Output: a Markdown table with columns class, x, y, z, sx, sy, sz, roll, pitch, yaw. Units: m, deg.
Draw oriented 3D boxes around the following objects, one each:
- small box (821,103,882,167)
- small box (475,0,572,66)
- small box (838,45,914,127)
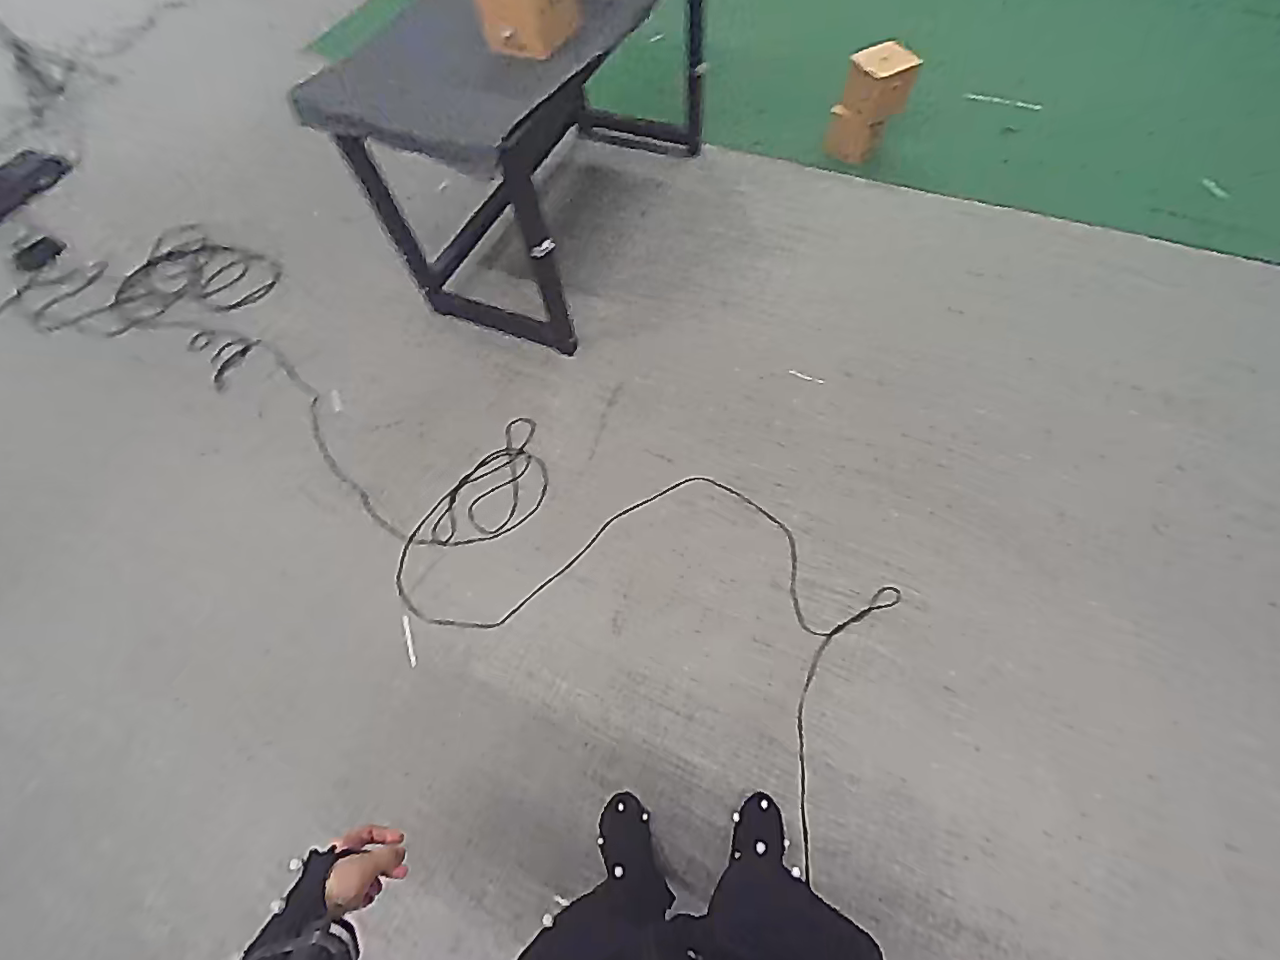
| class | x | y | z | sx | sy | sz | roll | pitch | yaw |
| --- | --- | --- | --- | --- | --- | --- | --- | --- | --- |
| small box | 0.831 | -1.370 | 2.121 | 0.168 | 0.176 | 0.179 | 37 | 72 | 19 |
| small box | -0.275 | -1.124 | 1.271 | 0.168 | 0.176 | 0.179 | 21 | 68 | 15 |
| small box | 0.846 | -1.426 | 1.965 | 0.179 | 0.176 | 0.168 | -27 | 66 | -9 |
